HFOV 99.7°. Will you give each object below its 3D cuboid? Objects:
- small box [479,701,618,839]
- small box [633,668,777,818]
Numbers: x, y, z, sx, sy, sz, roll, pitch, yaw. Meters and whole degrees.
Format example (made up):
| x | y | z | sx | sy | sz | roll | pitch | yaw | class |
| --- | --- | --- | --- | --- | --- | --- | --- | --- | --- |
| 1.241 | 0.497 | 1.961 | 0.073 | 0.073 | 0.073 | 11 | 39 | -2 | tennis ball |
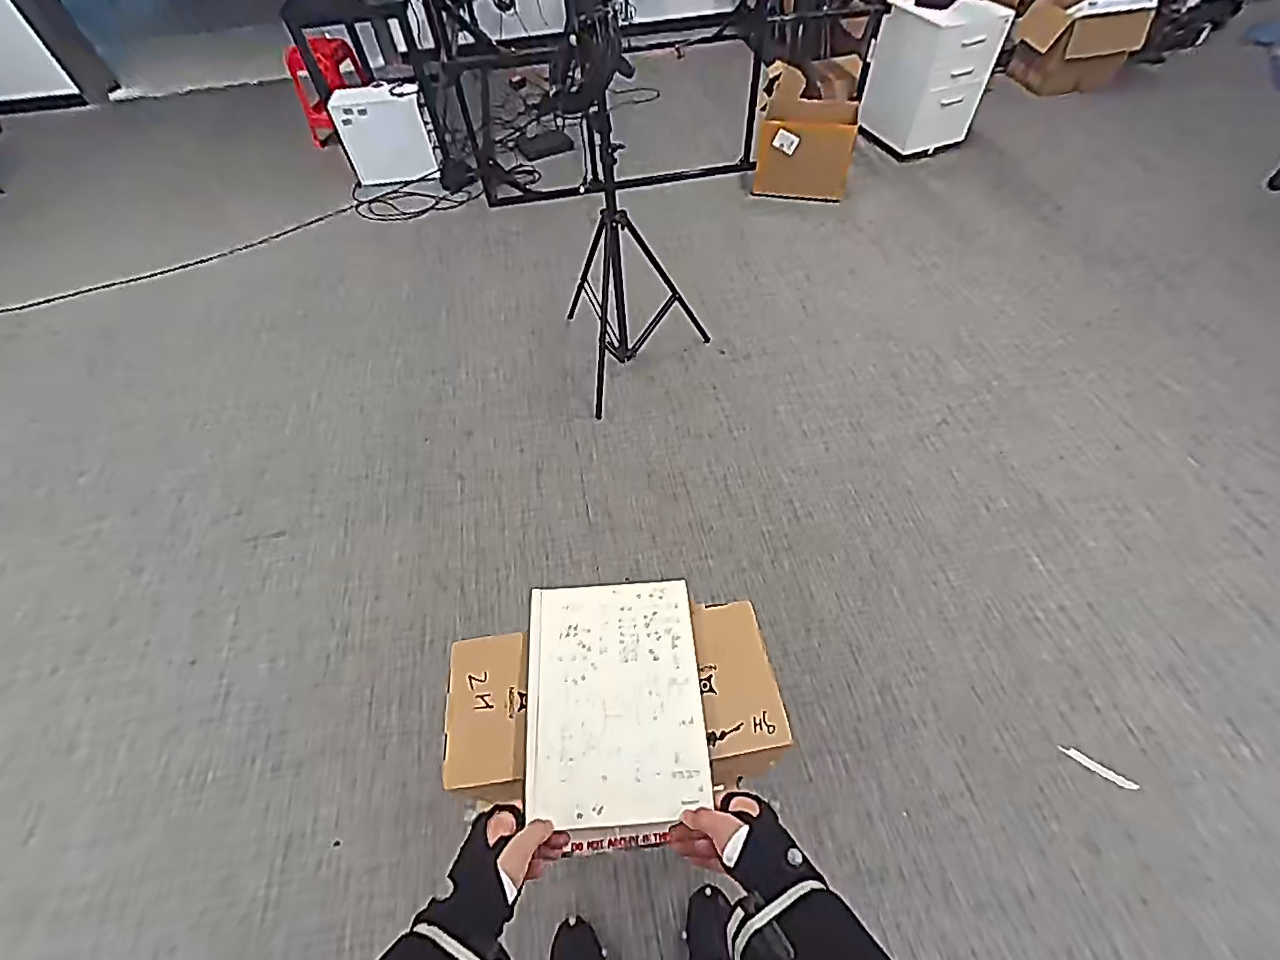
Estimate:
| x | y | z | sx | sy | sz | roll | pitch | yaw | class |
| --- | --- | --- | --- | --- | --- | --- | --- | --- | --- |
| -0.125 | 0.442 | 0.822 | 0.179 | 0.176 | 0.168 | -5 | 56 | 2 | small box |
| 0.088 | 0.409 | 0.835 | 0.179 | 0.176 | 0.168 | -10 | 56 | -5 | small box |
